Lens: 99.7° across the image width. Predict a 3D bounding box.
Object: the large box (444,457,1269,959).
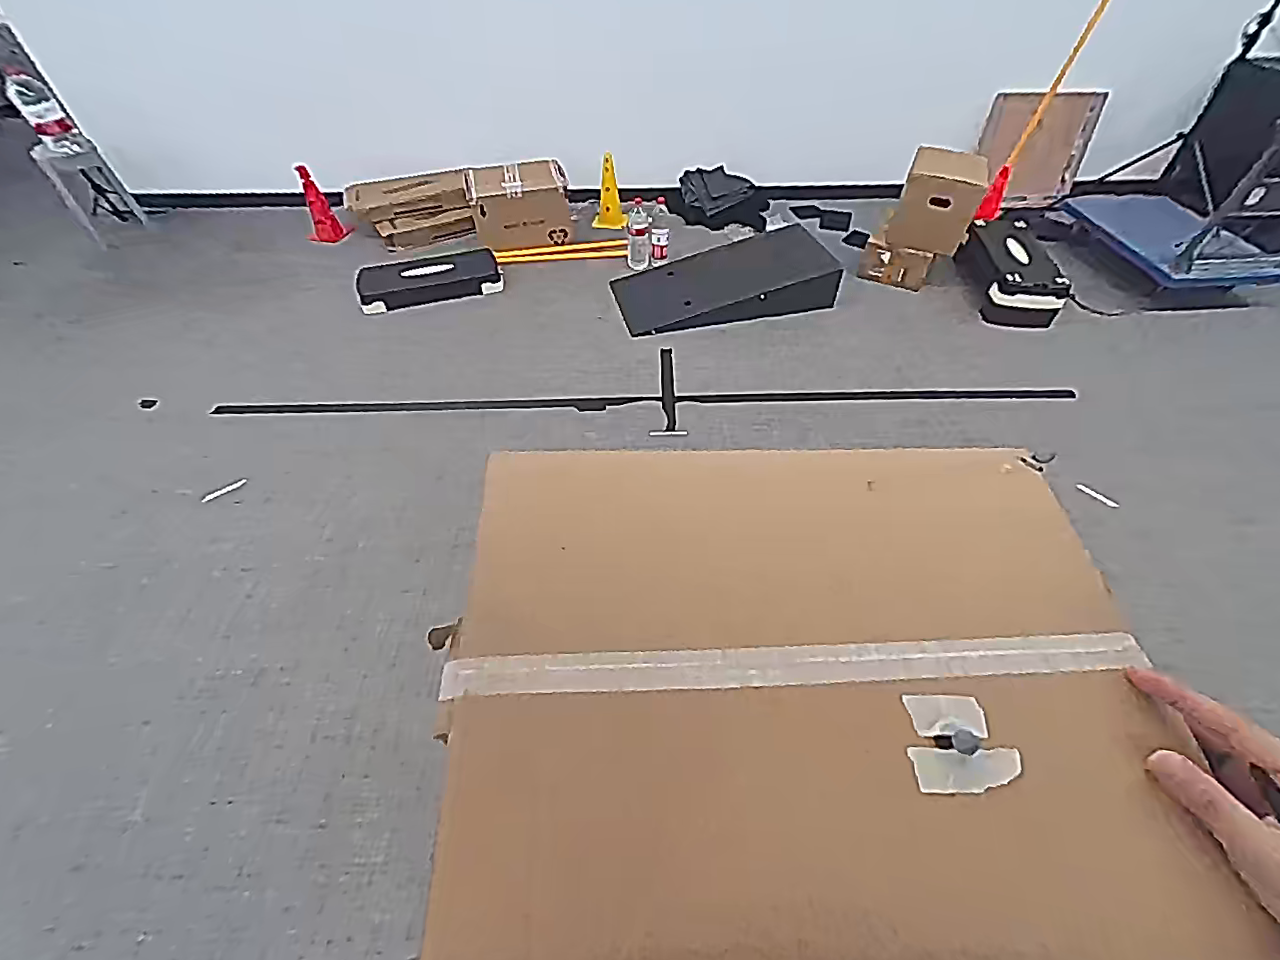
[{"bbox_3d":[0.090,0.196,0.449,0.408,0.320,0.320,-1,57,-5],"label":"large box"}]
